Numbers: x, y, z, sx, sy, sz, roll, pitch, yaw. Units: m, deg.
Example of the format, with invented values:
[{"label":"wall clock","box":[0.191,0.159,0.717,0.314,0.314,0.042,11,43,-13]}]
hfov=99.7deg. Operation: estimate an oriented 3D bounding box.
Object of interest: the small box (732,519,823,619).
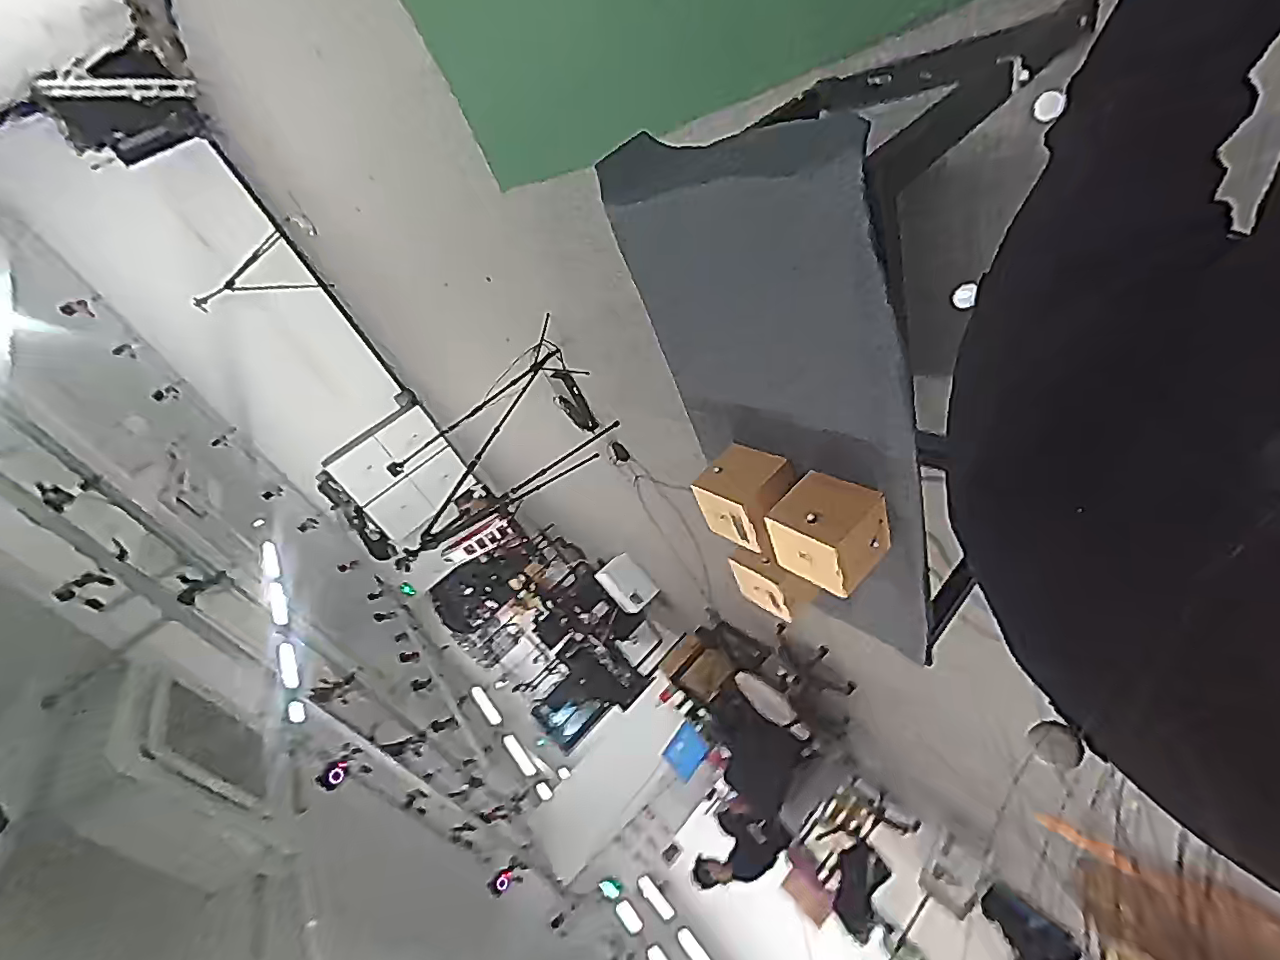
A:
[{"label":"small box","box":[0.382,0.231,1.450,0.179,0.176,0.168,25,150,48]}]

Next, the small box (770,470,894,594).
[{"label":"small box","box":[0.412,0.102,1.156,0.179,0.176,0.168,26,150,48]}]
